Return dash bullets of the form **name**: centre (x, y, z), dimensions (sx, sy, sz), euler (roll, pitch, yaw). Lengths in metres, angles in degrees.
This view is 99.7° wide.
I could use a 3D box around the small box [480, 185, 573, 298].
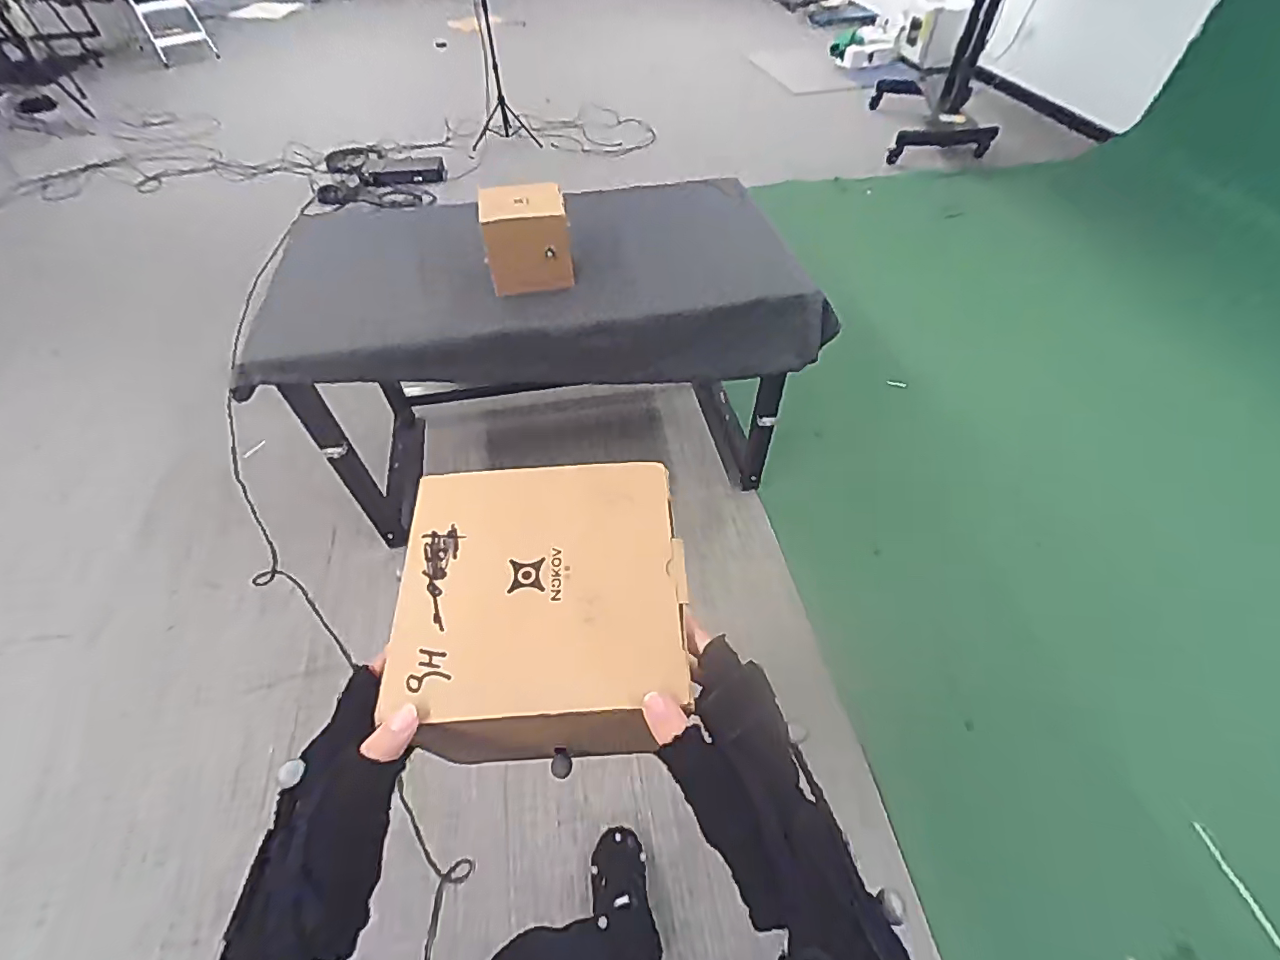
- **small box**: centre (-0.248, -0.528, 1.203), dimensions (0.179, 0.176, 0.168), euler (-11, 50, -6)
